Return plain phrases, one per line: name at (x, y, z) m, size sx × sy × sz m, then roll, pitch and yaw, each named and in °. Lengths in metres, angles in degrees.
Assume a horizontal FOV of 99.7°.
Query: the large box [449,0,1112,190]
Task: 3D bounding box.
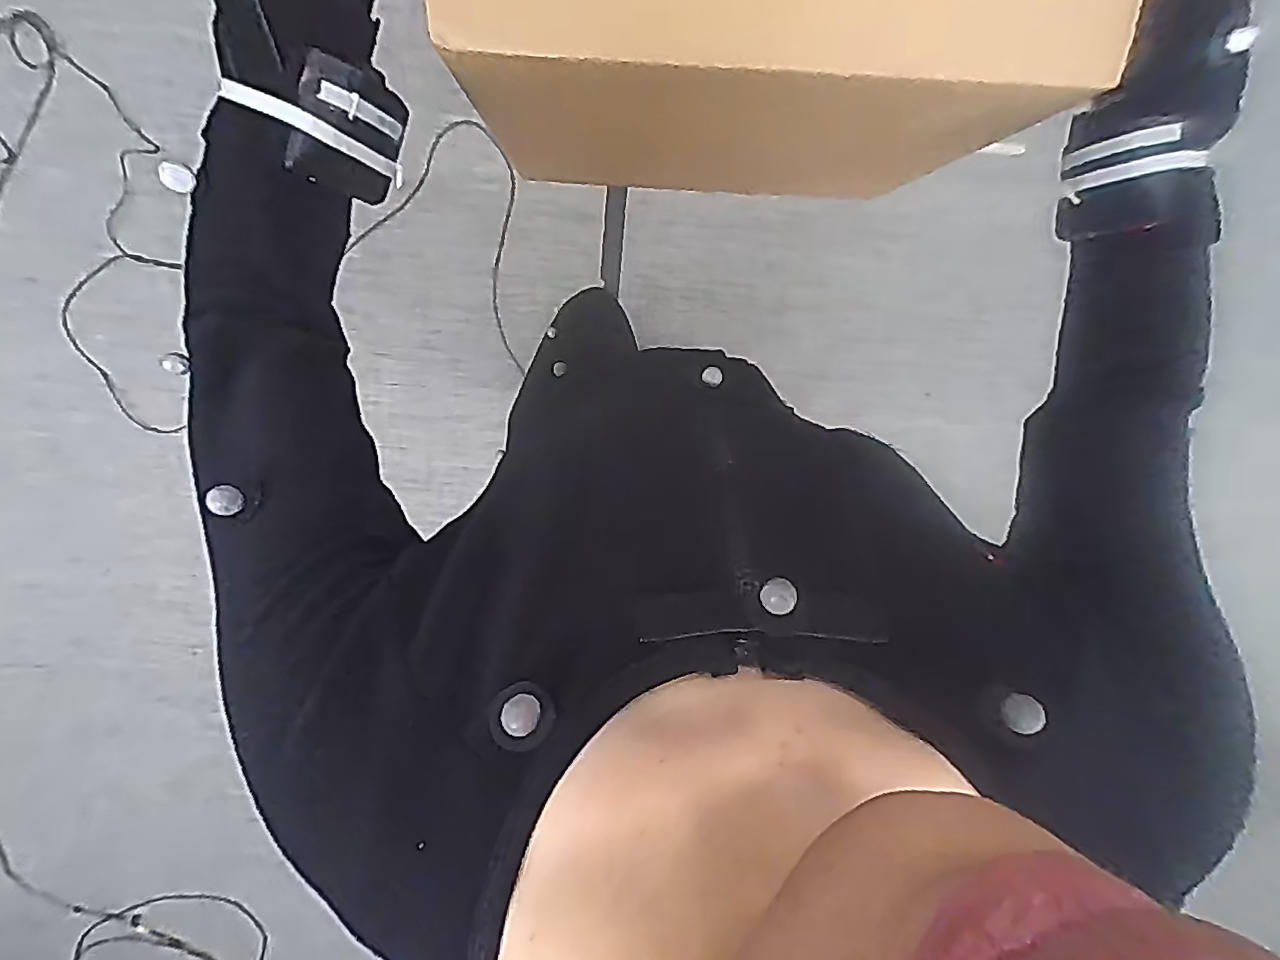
large box at (0.078, -0.437, 0.427) m, size 0.408 × 0.320 × 0.320 m, roll 0°, pitch 107°, yaw -4°
